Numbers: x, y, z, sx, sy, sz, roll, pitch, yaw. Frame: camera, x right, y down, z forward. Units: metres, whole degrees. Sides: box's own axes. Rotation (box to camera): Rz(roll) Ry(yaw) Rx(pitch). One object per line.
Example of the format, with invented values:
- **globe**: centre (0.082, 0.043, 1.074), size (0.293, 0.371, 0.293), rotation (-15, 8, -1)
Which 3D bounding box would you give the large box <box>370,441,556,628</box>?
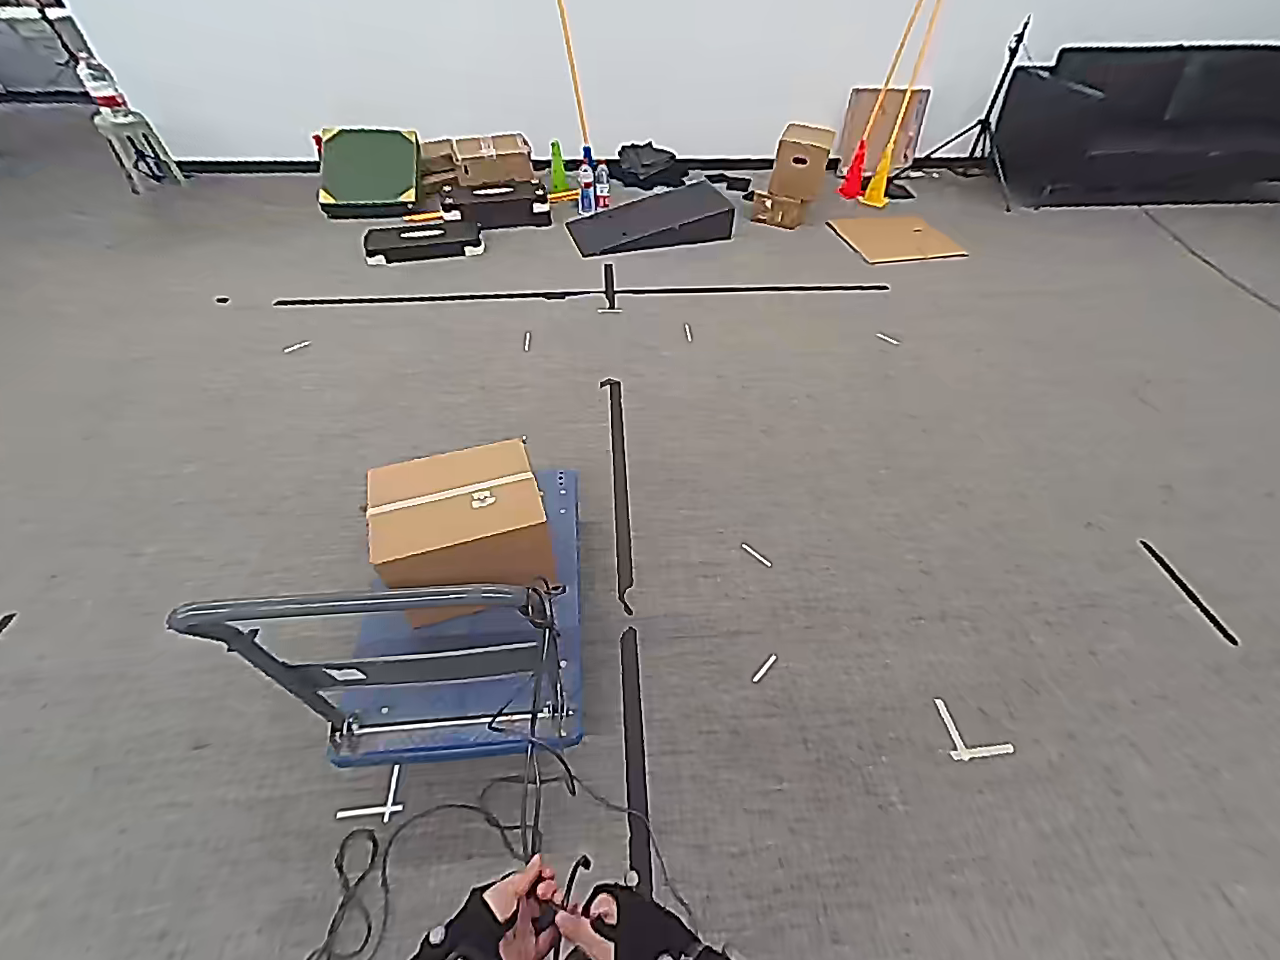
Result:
- **large box**: centre (-0.465, 0.144, 1.456), size (0.408, 0.320, 0.320), rotation (-13, 49, -15)
